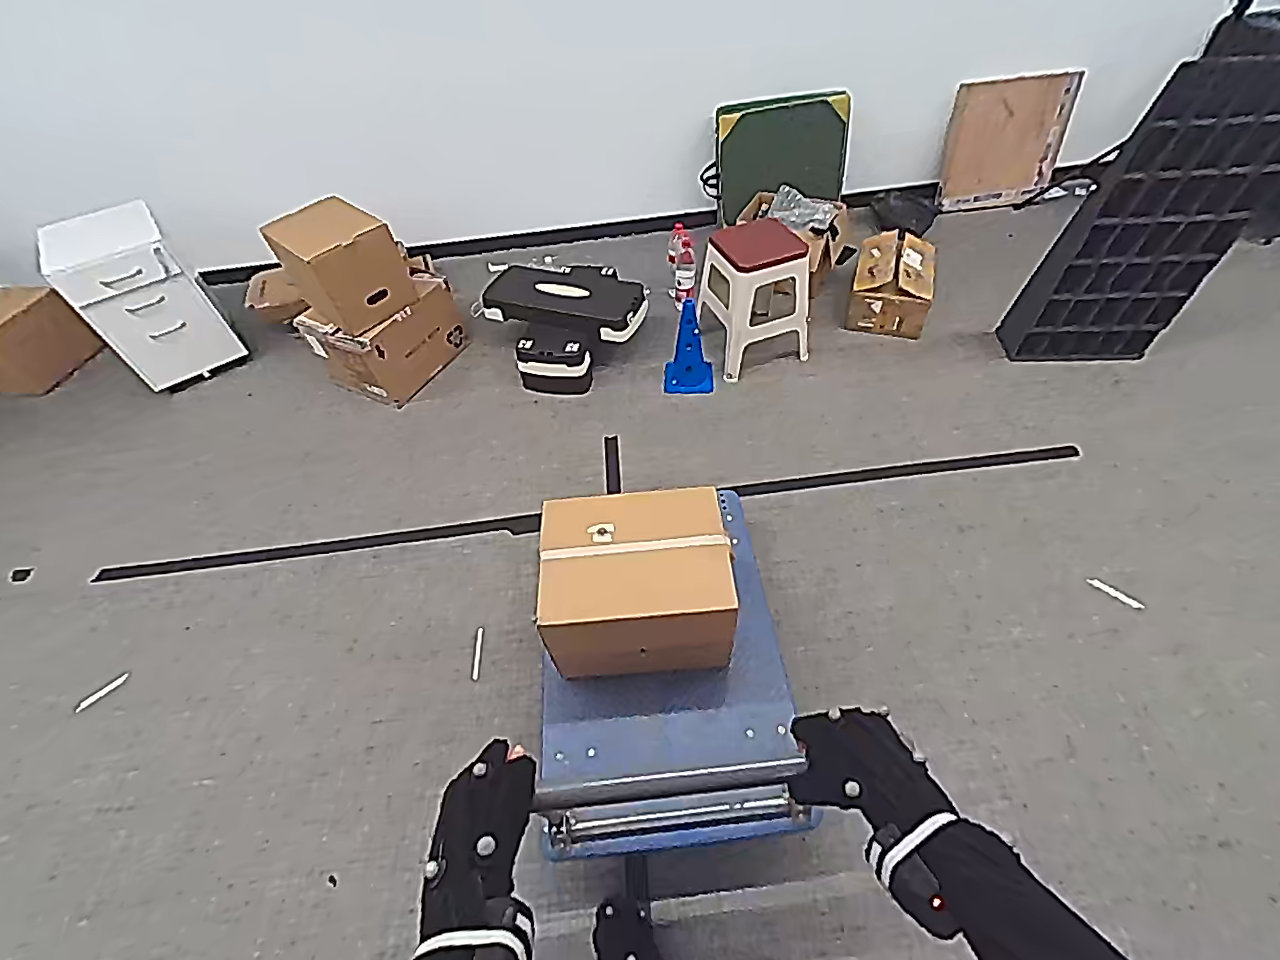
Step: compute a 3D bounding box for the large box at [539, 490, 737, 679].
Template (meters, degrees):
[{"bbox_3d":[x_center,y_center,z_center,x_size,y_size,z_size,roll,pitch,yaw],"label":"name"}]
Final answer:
[{"bbox_3d":[-0.002,0.254,1.280,0.408,0.320,0.320,-6,50,1],"label":"large box"}]
